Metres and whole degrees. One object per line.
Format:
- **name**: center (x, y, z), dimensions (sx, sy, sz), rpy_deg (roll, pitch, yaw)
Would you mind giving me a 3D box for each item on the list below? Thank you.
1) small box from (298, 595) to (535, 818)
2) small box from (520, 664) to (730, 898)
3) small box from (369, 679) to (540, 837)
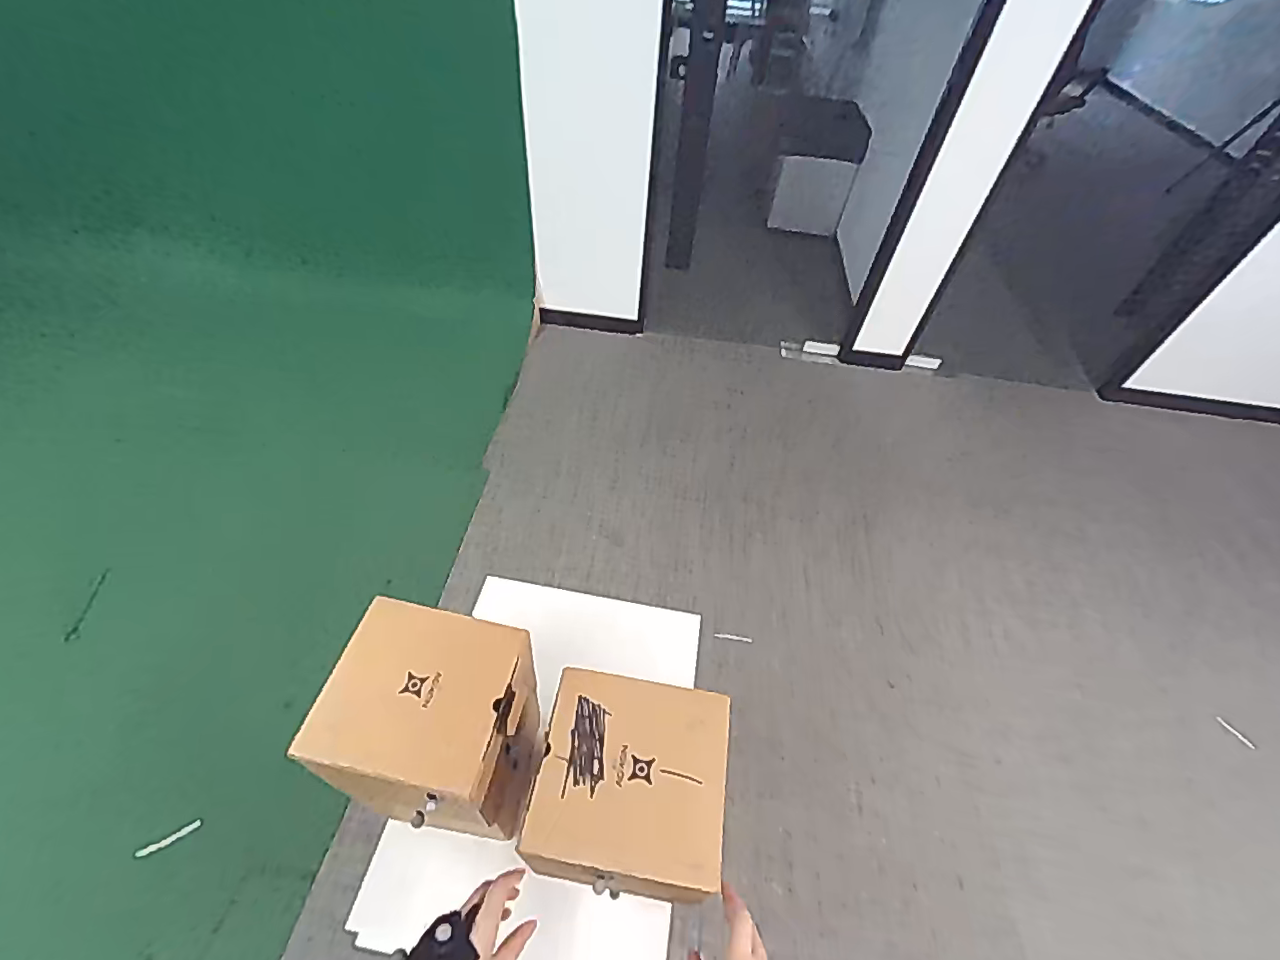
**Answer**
- **small box**: center (-0.226, 0.256, 0.603), dimensions (0.179, 0.176, 0.168), rpy_deg (13, 48, 1)
- **small box**: center (-0.010, 0.319, 0.569), dimensions (0.179, 0.176, 0.168), rpy_deg (10, 48, 3)
- **small box**: center (-0.241, 0.362, 0.728), dimensions (0.179, 0.176, 0.168), rpy_deg (11, 49, 1)
